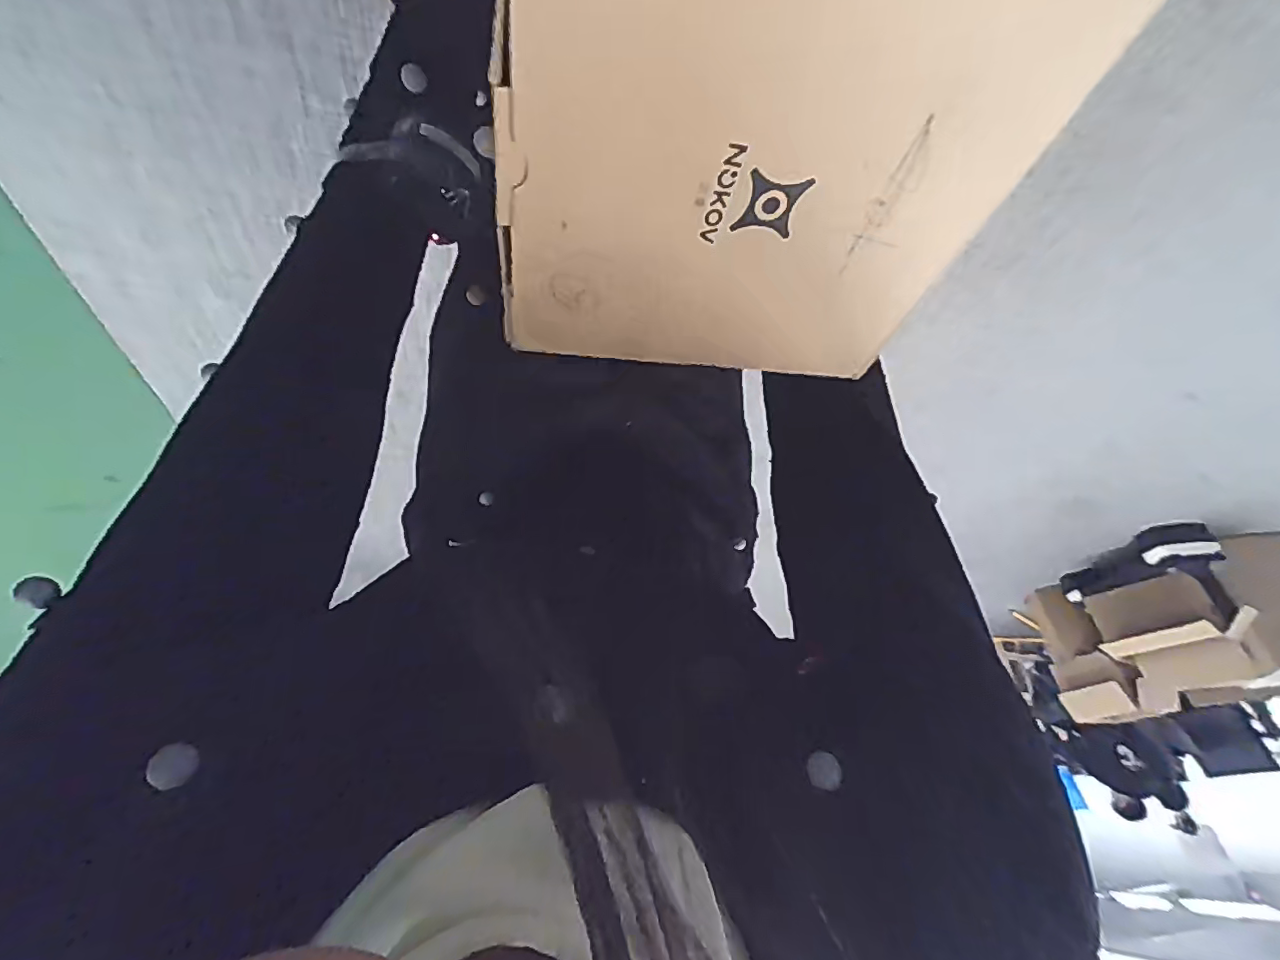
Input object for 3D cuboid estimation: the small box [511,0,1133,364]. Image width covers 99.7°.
[{"bbox_3d":[0.038,-0.174,0.237,0.179,0.176,0.168,1,150,-12],"label":"small box"}]
